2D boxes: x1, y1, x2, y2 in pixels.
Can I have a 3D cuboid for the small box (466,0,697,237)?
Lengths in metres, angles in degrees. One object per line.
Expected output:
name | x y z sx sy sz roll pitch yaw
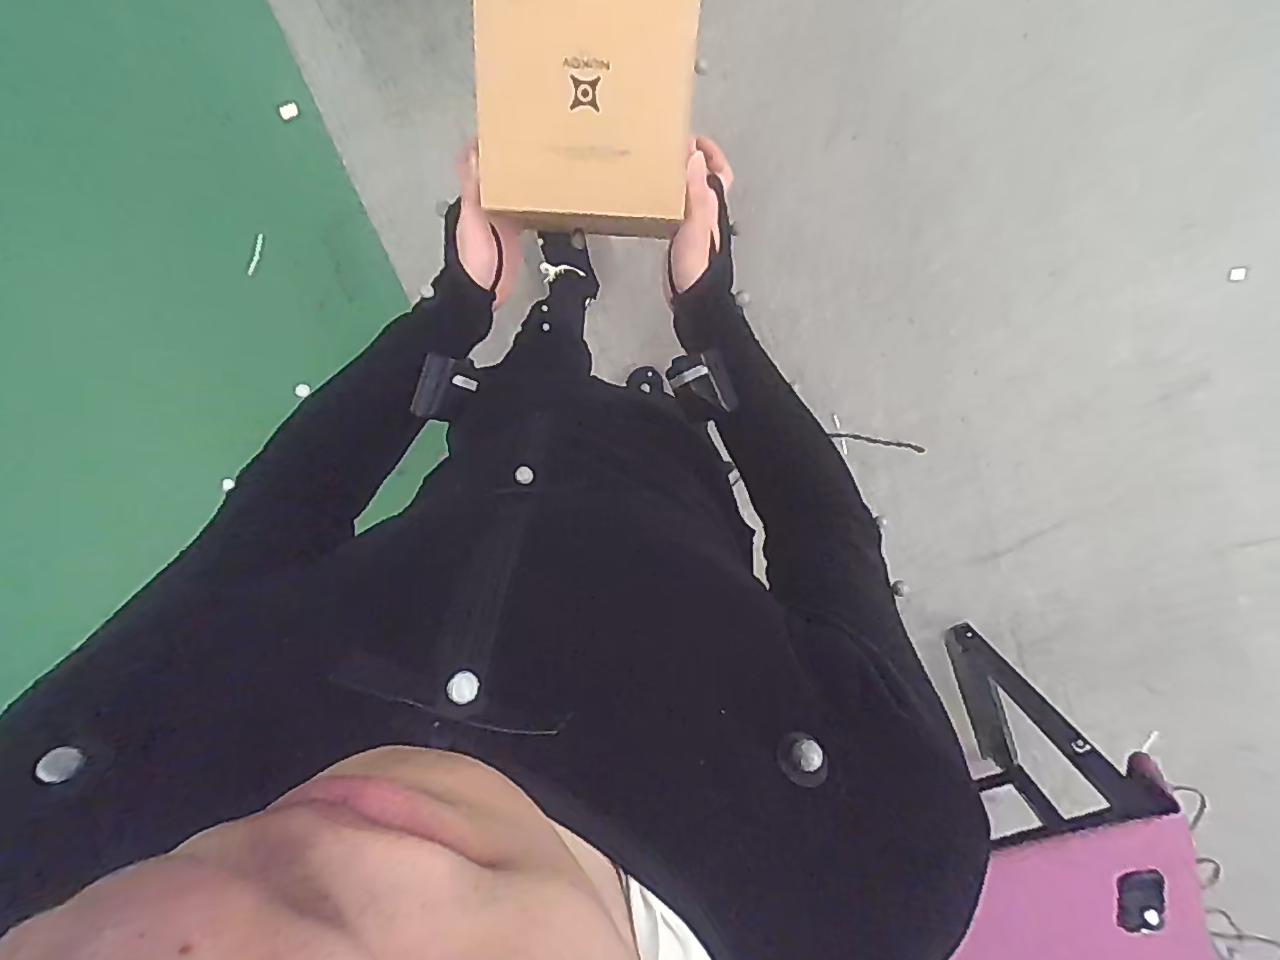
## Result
small box | -0.045 -0.321 0.472 0.168 0.176 0.179 4 109 0
